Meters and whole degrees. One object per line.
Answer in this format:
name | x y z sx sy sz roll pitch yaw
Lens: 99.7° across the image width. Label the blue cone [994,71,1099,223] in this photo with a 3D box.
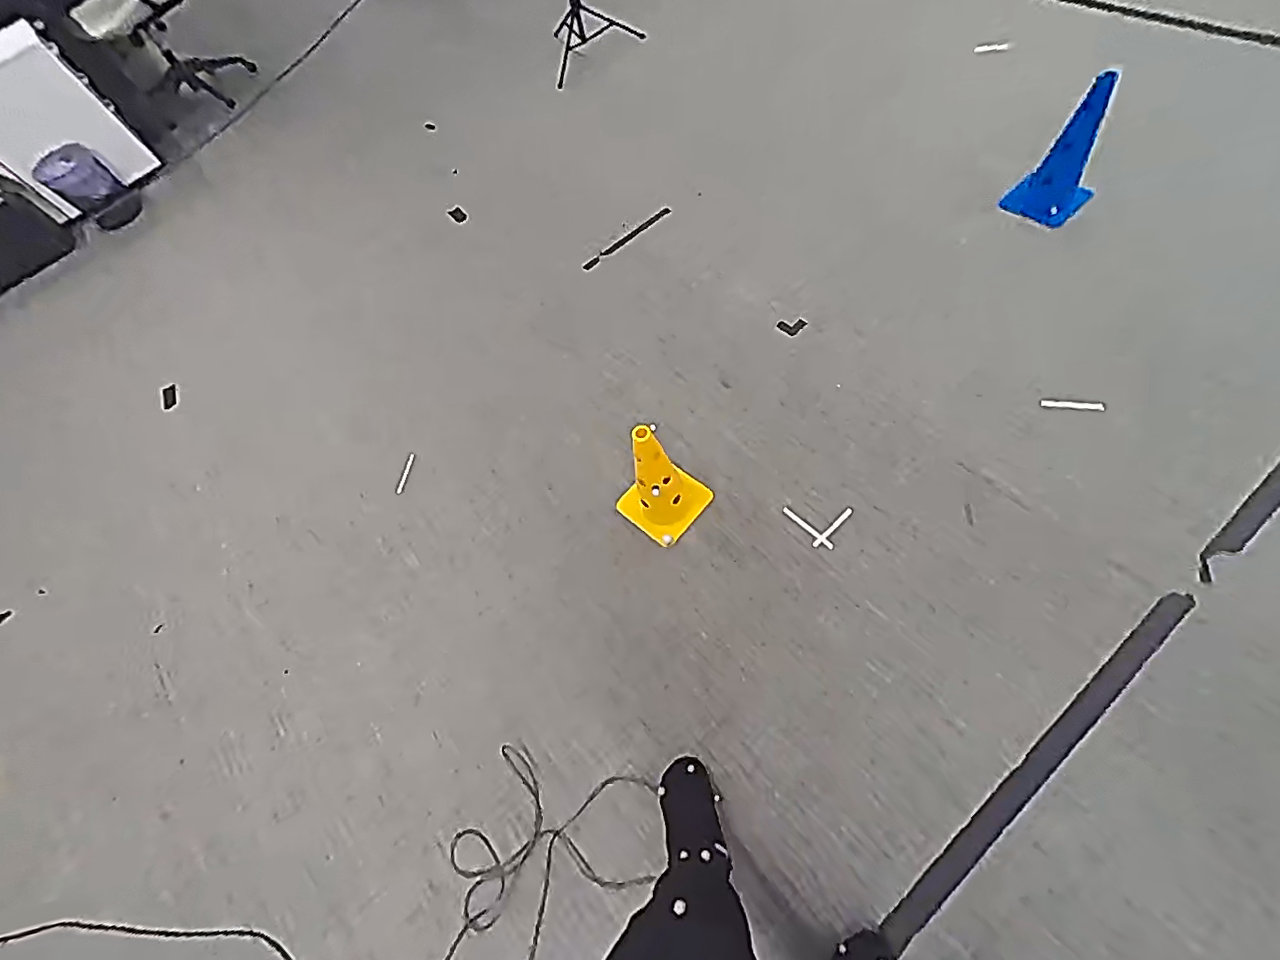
blue cone | 1.220 -0.963 1.564 0.193 0.380 0.192 -40 61 -10
